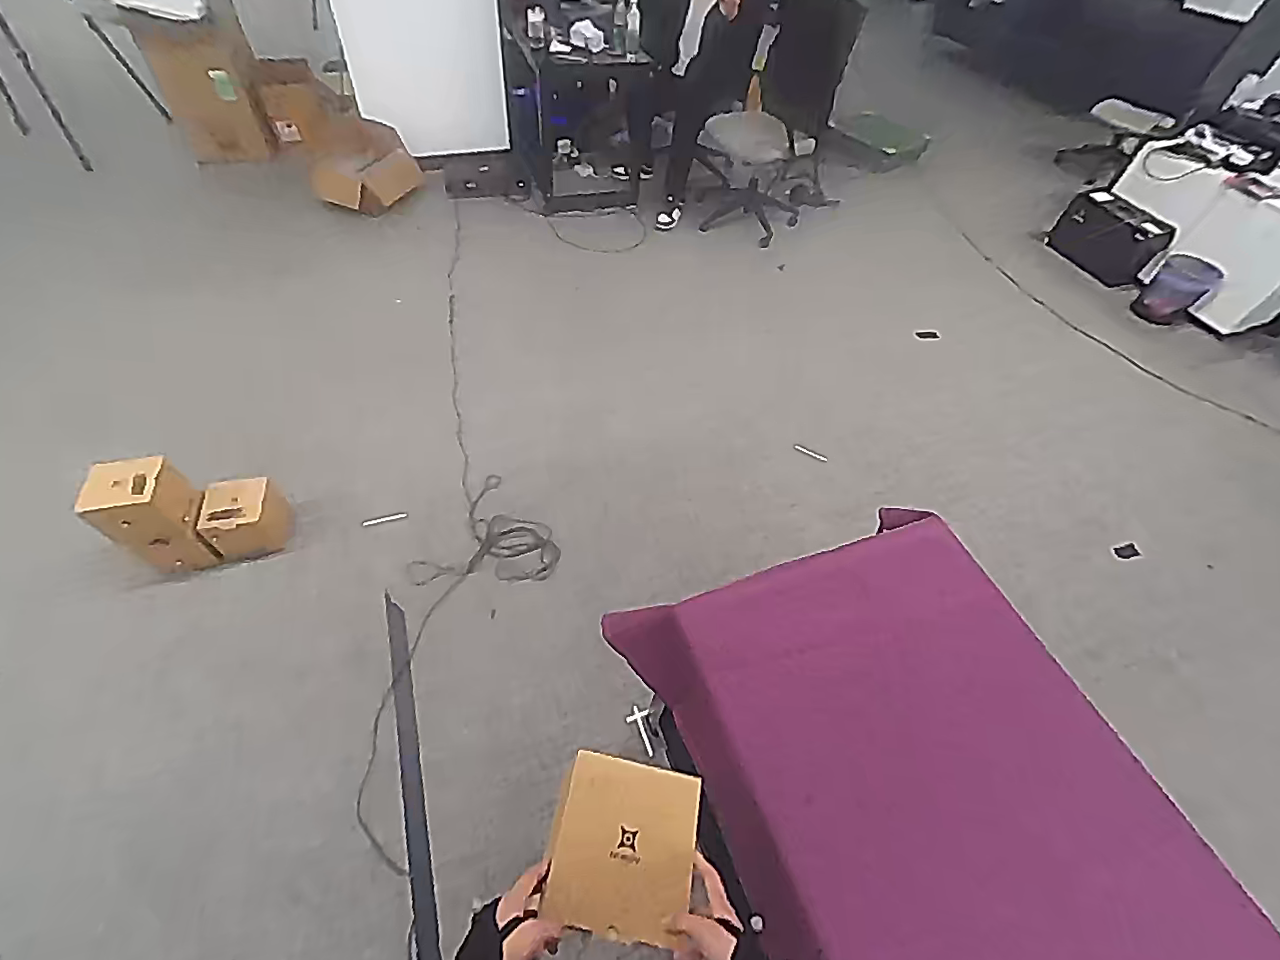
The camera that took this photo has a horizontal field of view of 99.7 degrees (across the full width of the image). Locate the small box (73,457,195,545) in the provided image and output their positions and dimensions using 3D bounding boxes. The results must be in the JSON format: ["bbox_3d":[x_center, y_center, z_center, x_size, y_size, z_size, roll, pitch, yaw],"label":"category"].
[{"bbox_3d":[-1.397,0.062,1.512,0.179,0.176,0.168,-10,54,-12],"label":"small box"}]

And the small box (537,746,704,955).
[{"bbox_3d":[-0.029,0.469,0.692,0.168,0.176,0.179,16,52,-3],"label":"small box"}]
